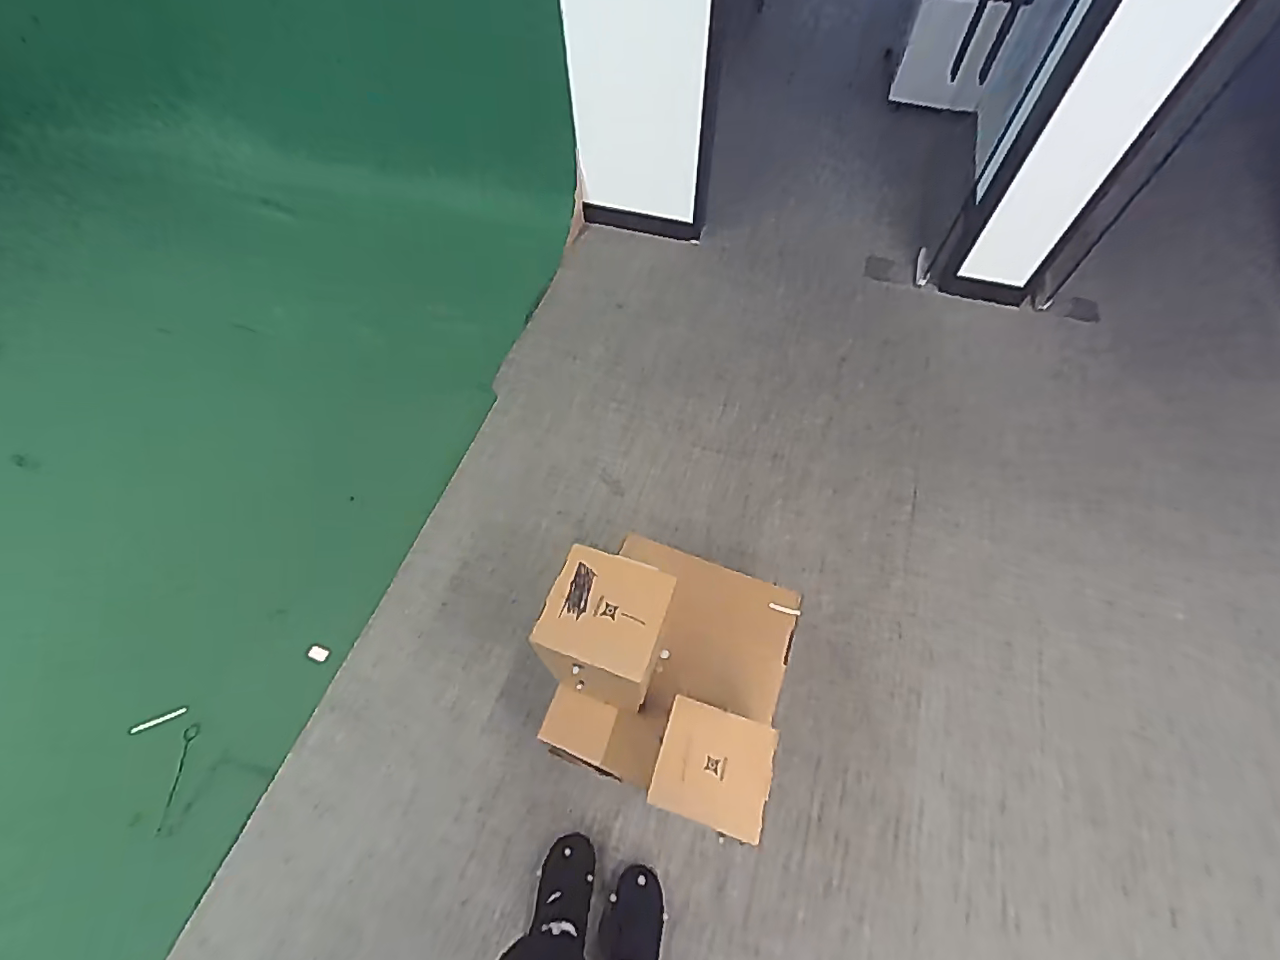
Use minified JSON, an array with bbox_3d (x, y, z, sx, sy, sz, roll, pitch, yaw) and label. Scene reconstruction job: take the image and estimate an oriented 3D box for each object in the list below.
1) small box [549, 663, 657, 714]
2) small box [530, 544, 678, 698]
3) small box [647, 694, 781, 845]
[{"bbox_3d":[-0.052,0.311,1.007,0.168,0.176,0.179,18,60,11],"label":"small box"},{"bbox_3d":[-0.050,0.231,0.862,0.179,0.176,0.168,17,61,10],"label":"small box"},{"bbox_3d":[0.118,0.481,0.906,0.179,0.176,0.168,16,60,9],"label":"small box"}]
